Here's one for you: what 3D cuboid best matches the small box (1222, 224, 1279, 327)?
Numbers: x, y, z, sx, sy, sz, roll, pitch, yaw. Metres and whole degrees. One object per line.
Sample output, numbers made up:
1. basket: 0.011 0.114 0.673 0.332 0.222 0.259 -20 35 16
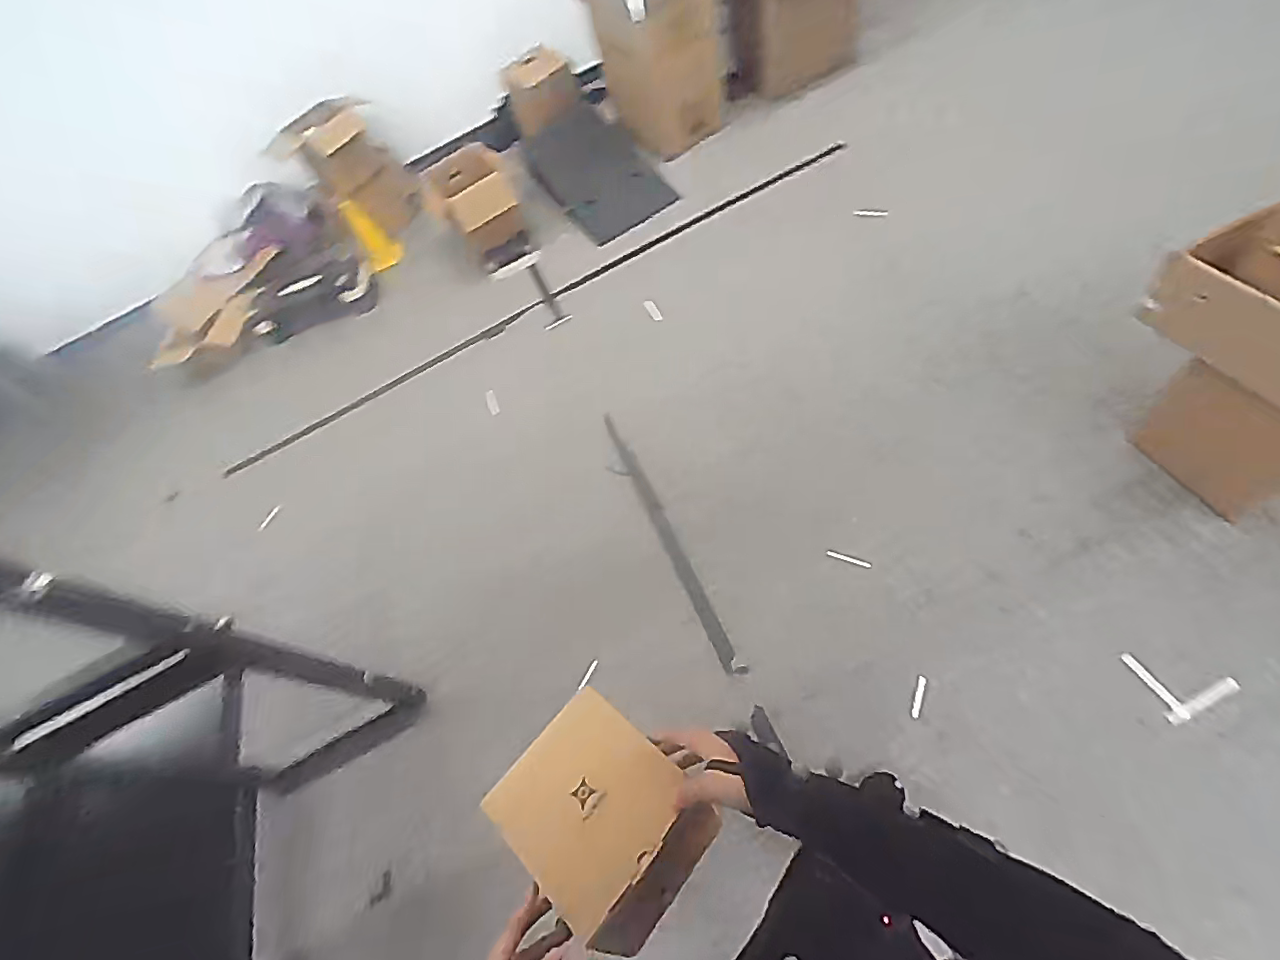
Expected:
1. small box: 1.409 -0.454 1.142 0.179 0.176 0.168 -28 54 -1
